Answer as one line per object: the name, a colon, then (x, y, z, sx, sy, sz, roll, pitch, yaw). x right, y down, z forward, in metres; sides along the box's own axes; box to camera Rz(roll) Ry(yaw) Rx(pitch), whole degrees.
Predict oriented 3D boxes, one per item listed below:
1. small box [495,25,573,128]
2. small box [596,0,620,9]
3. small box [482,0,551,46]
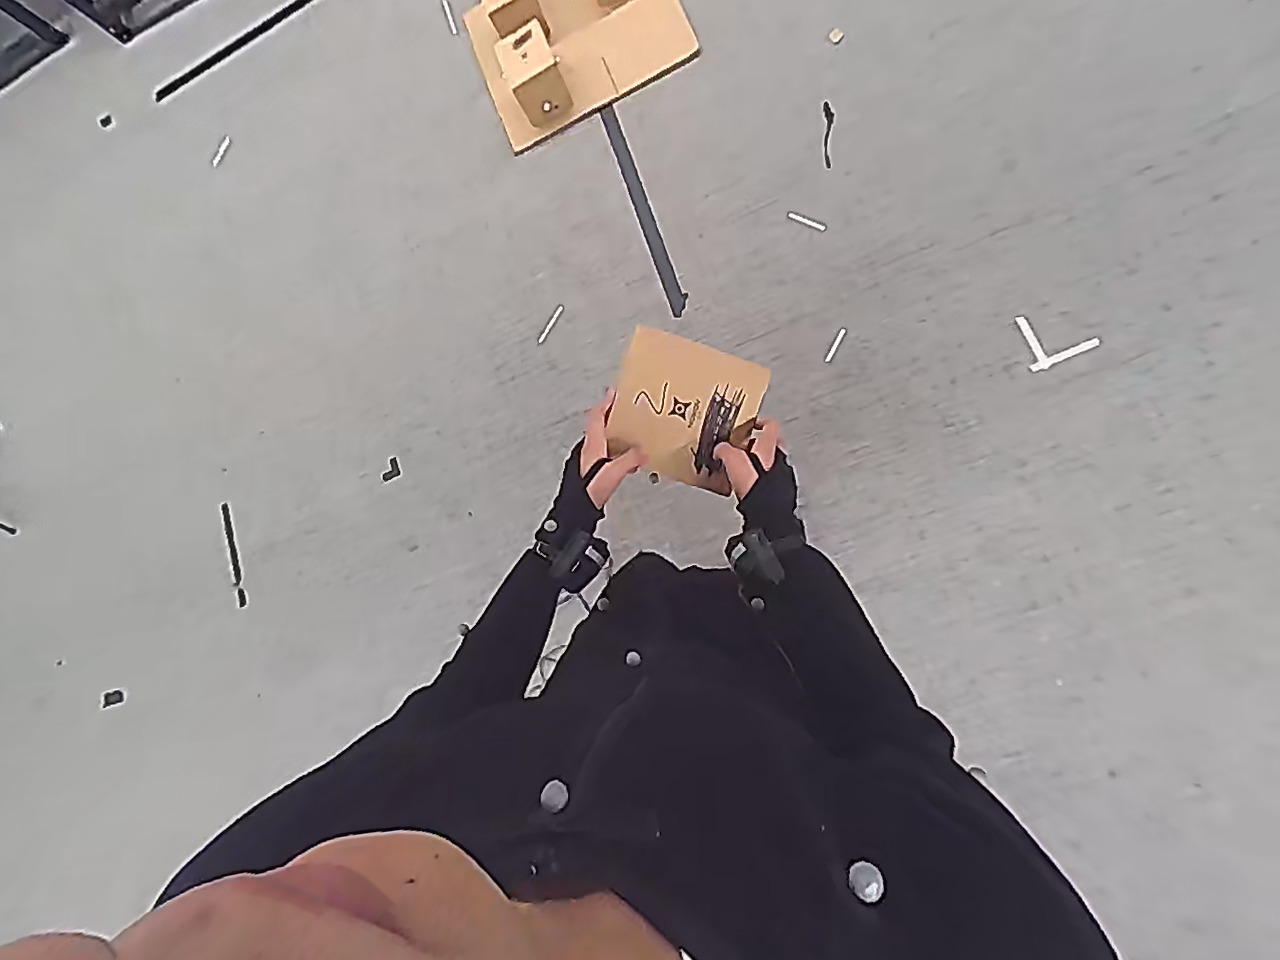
small box: (-0.344, -1.320, 1.781, 0.168, 0.176, 0.179, -24, 81, 11)
small box: (-0.111, -1.715, 1.767, 0.168, 0.176, 0.179, -26, 80, 10)
small box: (-0.426, -1.590, 1.823, 0.168, 0.176, 0.179, -23, 81, 11)
